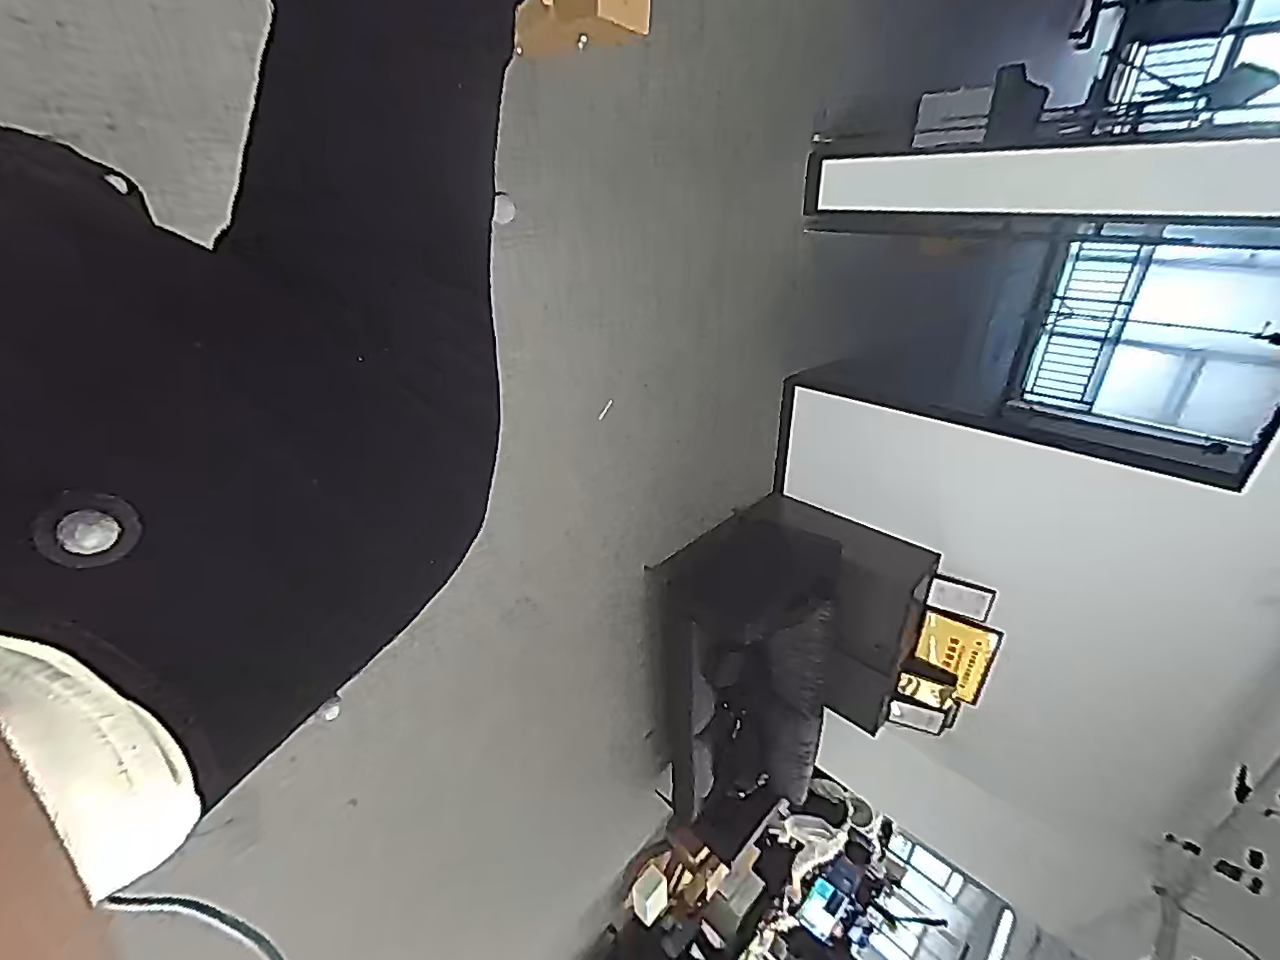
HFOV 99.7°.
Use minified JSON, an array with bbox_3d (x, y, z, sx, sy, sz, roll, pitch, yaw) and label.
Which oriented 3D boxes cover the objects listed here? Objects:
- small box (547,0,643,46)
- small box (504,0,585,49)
[{"bbox_3d":[-0.106,-1.165,1.273,0.168,0.176,0.179,-20,124,-42],"label":"small box"},{"bbox_3d":[-0.224,-1.224,1.371,0.179,0.176,0.168,-20,123,-43],"label":"small box"}]
